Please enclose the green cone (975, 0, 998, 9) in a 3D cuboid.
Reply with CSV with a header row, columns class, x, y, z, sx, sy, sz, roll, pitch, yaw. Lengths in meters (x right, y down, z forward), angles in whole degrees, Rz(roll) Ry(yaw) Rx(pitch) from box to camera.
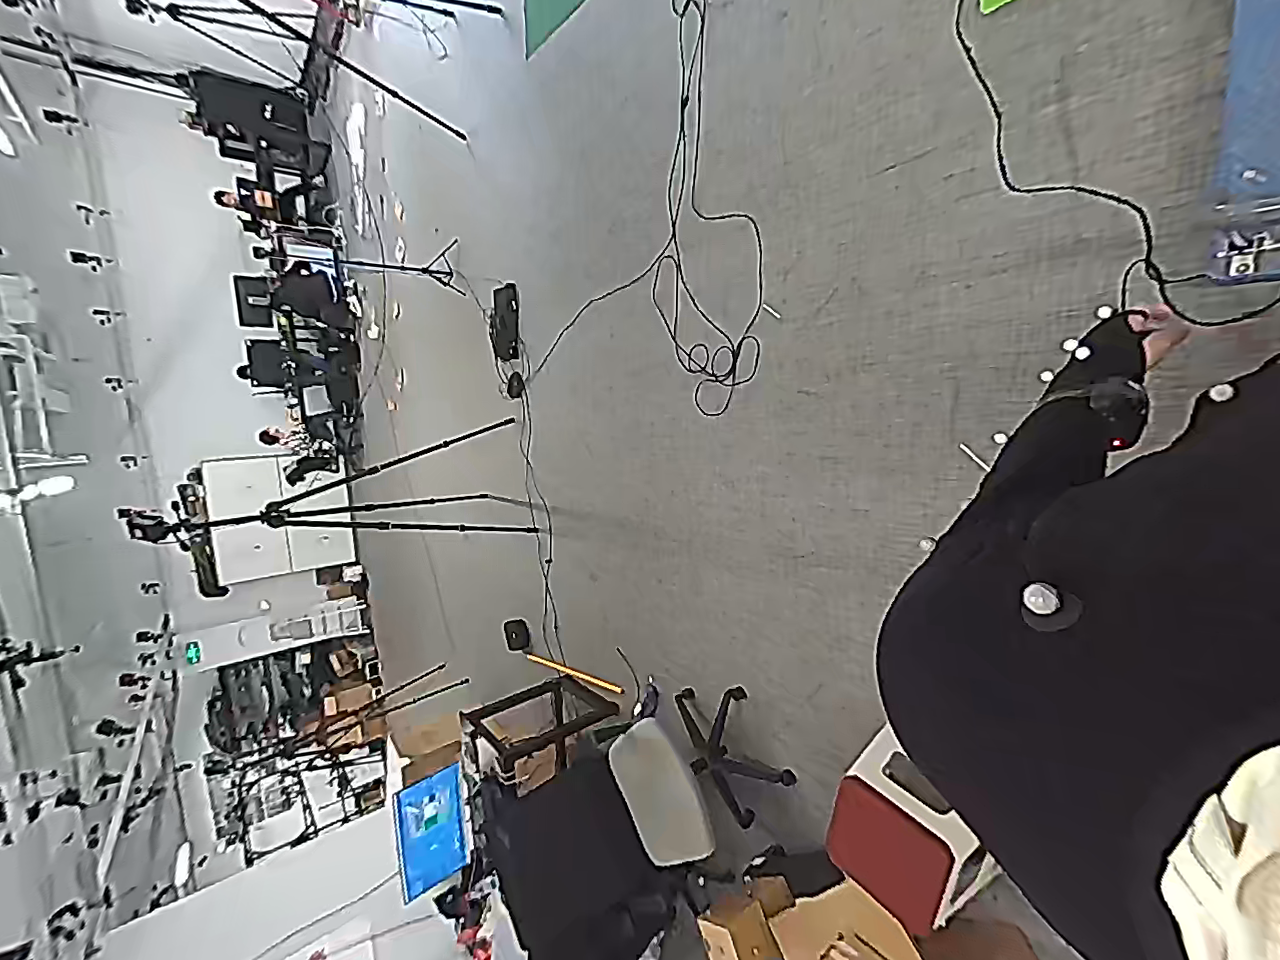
class,x,y,z,sx,sy,sz,roll,pitch,yaw
green cone,0.771,-1.268,1.191,0.202,0.368,0.200,0,97,54
